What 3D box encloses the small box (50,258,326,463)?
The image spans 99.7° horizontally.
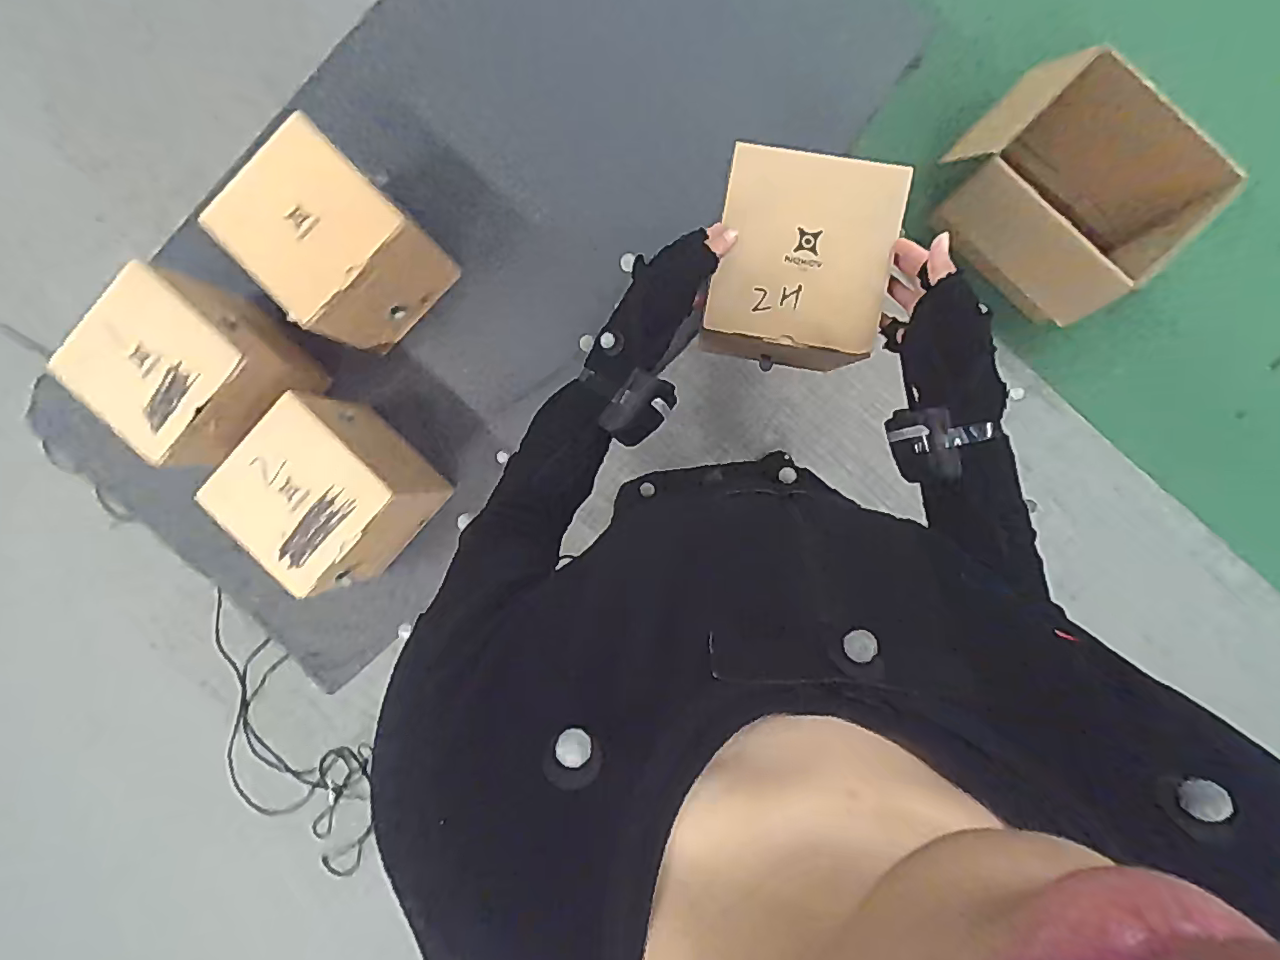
[{"bbox_3d":[-0.556,-0.140,0.693,0.179,0.176,0.168,42,93,1],"label":"small box"}]

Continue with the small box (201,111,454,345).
[{"bbox_3d":[-0.373,-0.296,0.681,0.179,0.176,0.168,45,93,0],"label":"small box"}]

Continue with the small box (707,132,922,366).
[{"bbox_3d":[0.169,-0.231,0.585,0.168,0.176,0.179,12,98,4],"label":"small box"}]
